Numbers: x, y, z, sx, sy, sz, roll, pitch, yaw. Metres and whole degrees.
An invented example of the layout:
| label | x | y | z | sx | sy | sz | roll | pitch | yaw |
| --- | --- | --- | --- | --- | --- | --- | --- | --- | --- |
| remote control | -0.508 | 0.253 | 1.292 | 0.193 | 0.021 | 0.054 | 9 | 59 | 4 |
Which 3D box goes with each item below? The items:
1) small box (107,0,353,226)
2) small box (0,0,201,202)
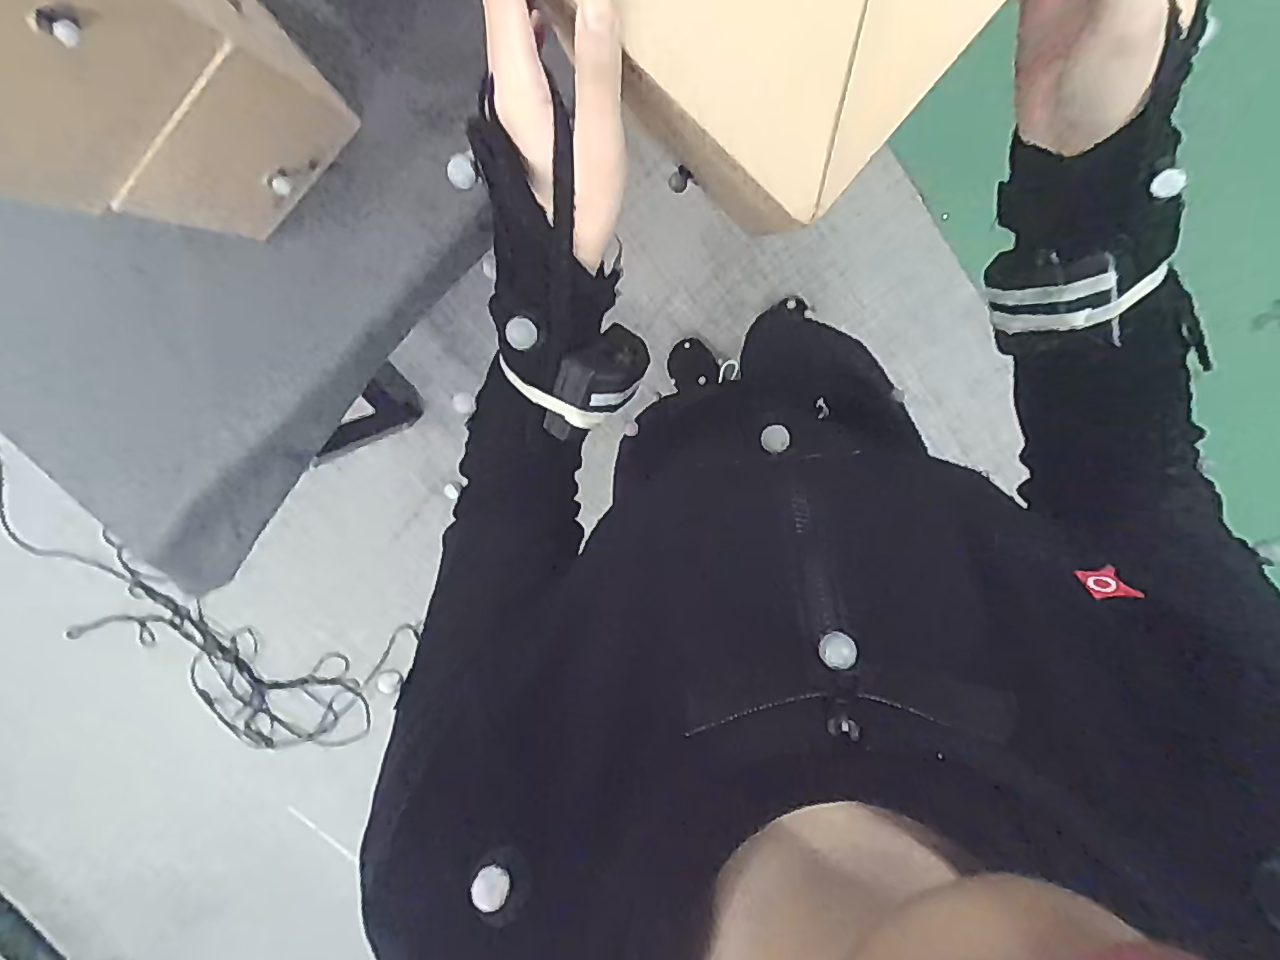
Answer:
| label | x | y | z | sx | sy | sz | roll | pitch | yaw |
| --- | --- | --- | --- | --- | --- | --- | --- | --- | --- |
| small box | -0.400 | -0.351 | 0.466 | 0.168 | 0.176 | 0.179 | -38 | 101 | 14 |
| small box | -0.415 | -0.300 | 0.312 | 0.179 | 0.176 | 0.168 | -40 | 99 | 15 |
